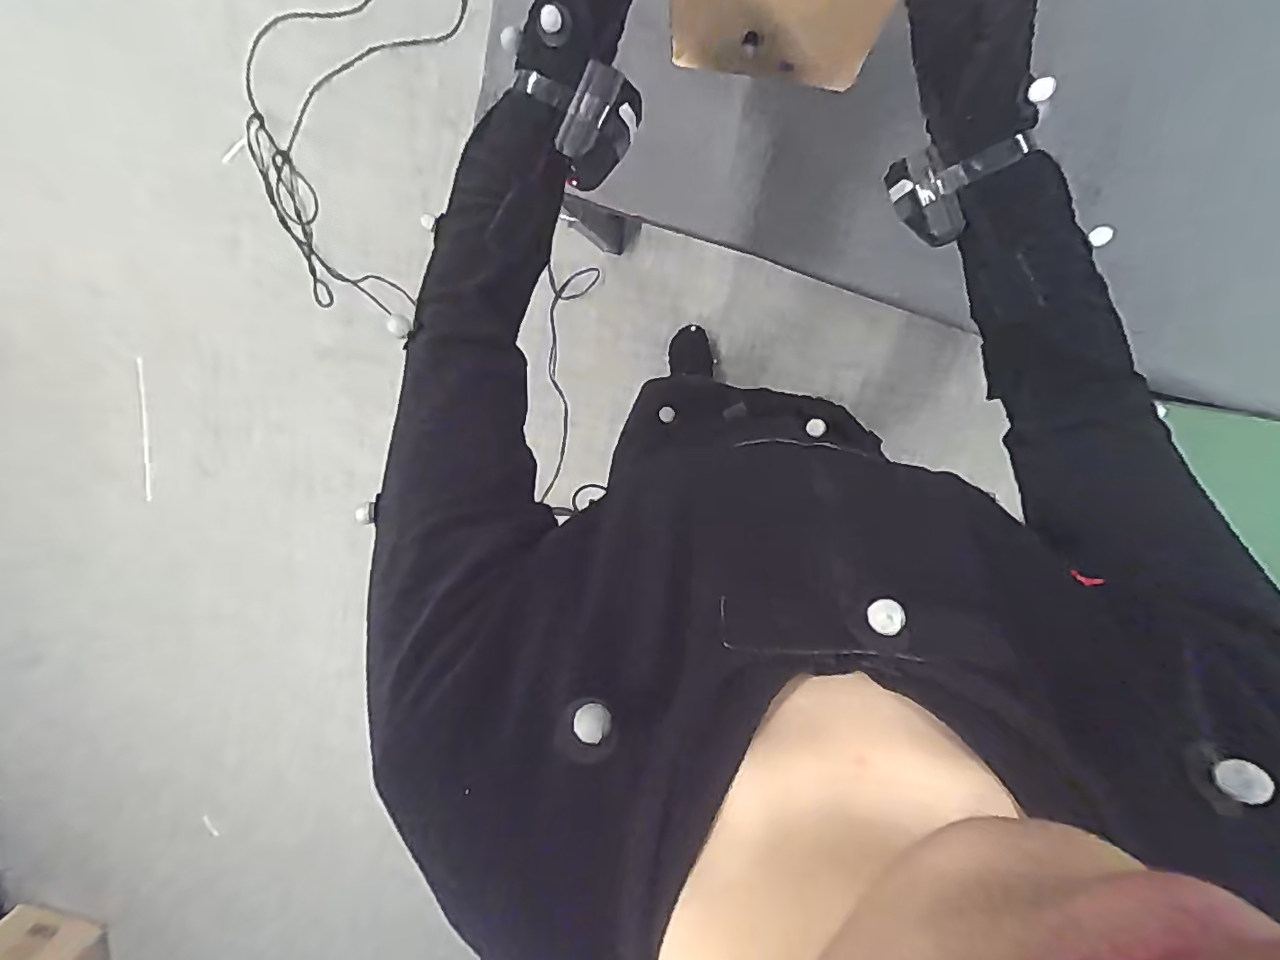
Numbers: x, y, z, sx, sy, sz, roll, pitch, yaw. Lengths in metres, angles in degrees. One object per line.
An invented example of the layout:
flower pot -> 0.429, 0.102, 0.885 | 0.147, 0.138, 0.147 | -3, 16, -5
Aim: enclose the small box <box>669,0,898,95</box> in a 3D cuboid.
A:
small box -> 0.115, -0.437, 0.408 | 0.168, 0.176, 0.179 | 11, 104, 2
